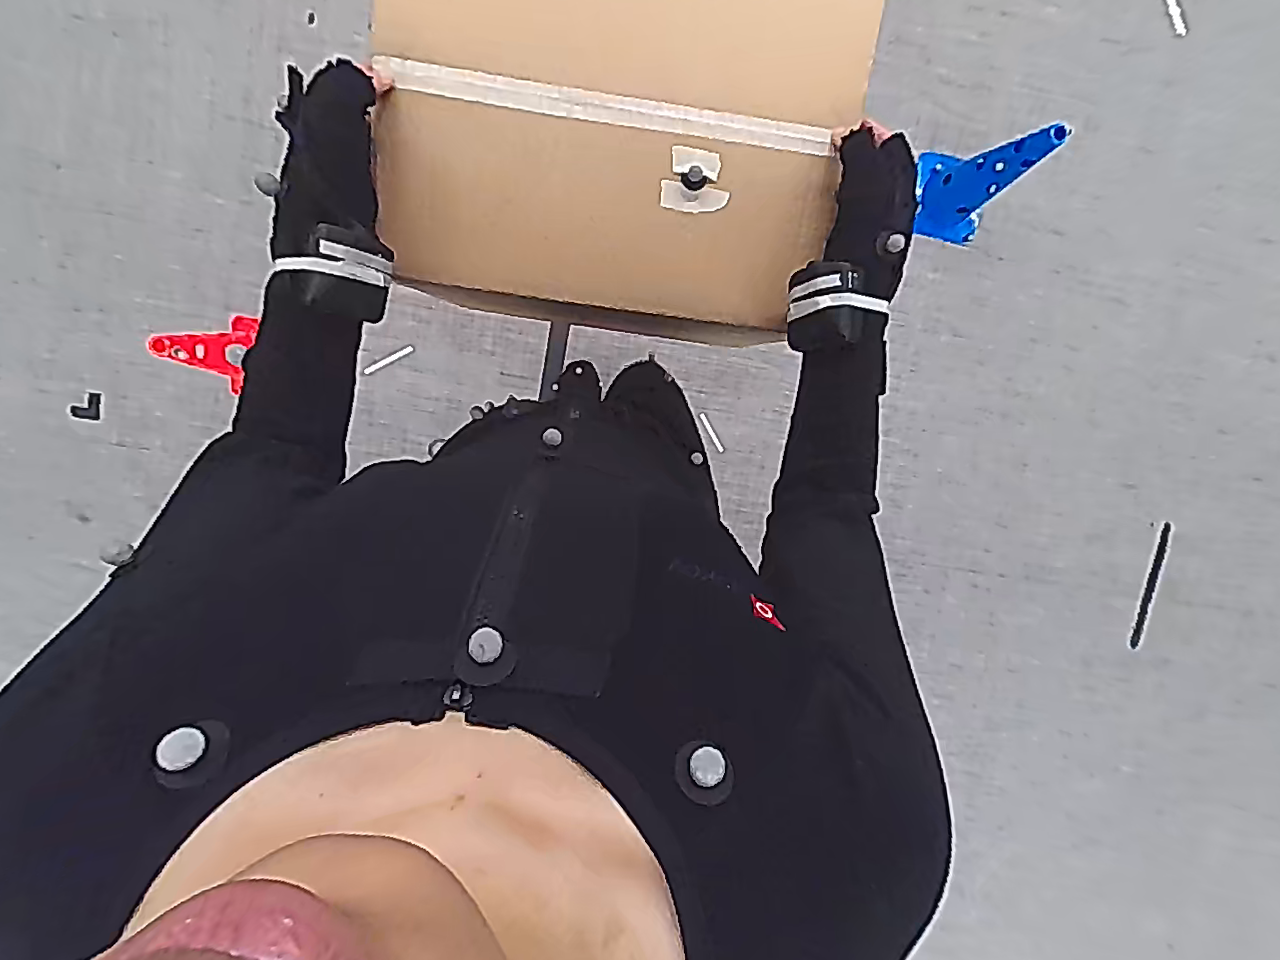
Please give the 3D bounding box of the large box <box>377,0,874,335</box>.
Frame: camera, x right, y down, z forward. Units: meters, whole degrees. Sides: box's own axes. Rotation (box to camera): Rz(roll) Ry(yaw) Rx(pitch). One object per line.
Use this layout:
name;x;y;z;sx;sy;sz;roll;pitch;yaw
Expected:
large box;-0.024;-0.348;0.598;0.408;0.320;0.320;7;102;-5

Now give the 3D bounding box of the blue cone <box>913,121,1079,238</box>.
blue cone;0.823;-0.717;1.243;0.192;0.380;0.193;13;98;-6
